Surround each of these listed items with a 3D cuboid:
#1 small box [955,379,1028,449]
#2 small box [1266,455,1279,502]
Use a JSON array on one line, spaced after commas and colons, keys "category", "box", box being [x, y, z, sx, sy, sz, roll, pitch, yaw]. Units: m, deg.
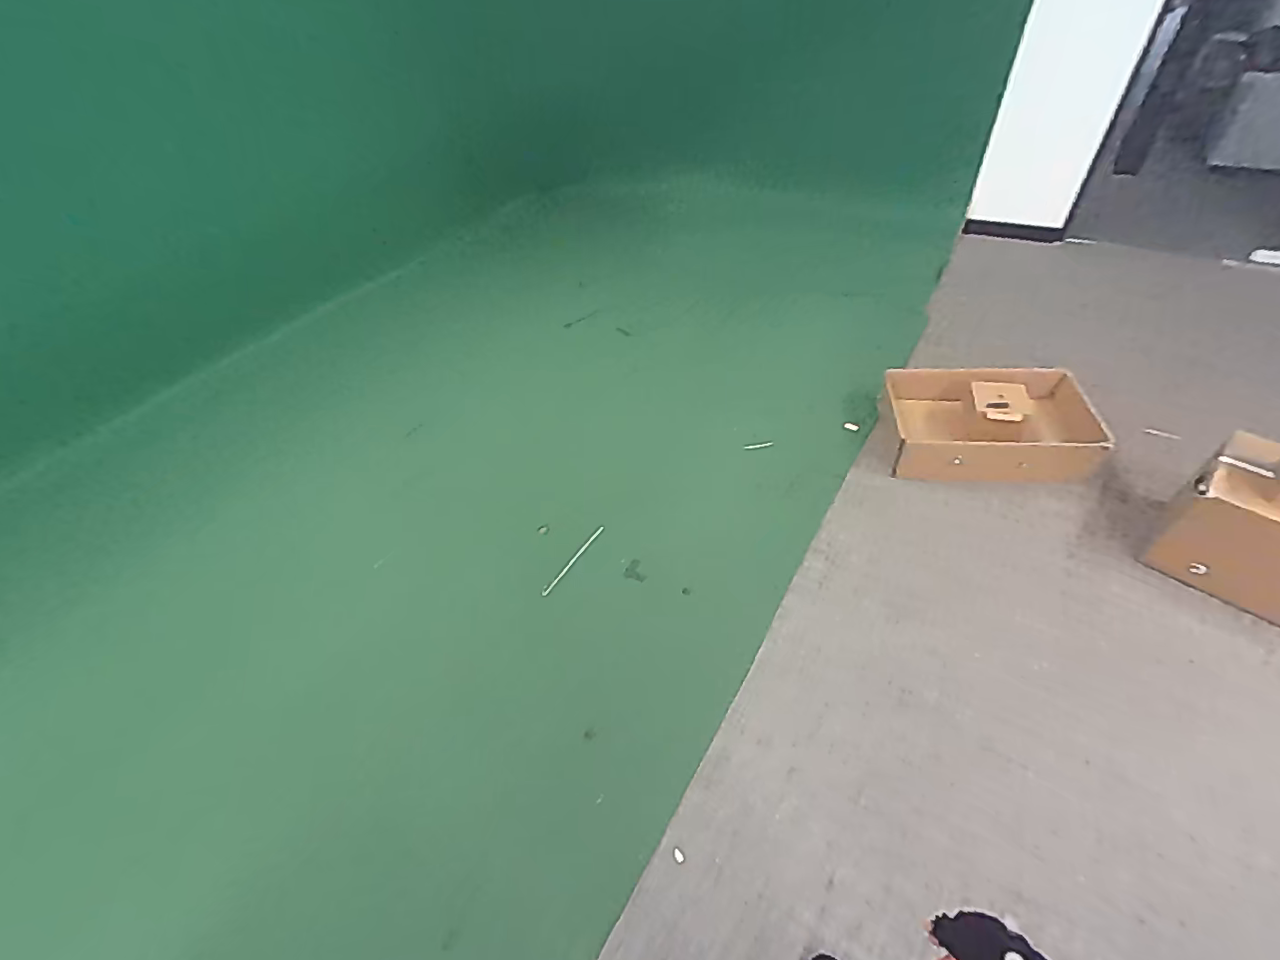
[{"category": "small box", "box": [1.210, -0.226, 1.872, 0.168, 0.176, 0.179, 8, 47, 16]}, {"category": "small box", "box": [1.632, -0.021, 1.257, 0.179, 0.176, 0.168, 28, 58, 30]}]
